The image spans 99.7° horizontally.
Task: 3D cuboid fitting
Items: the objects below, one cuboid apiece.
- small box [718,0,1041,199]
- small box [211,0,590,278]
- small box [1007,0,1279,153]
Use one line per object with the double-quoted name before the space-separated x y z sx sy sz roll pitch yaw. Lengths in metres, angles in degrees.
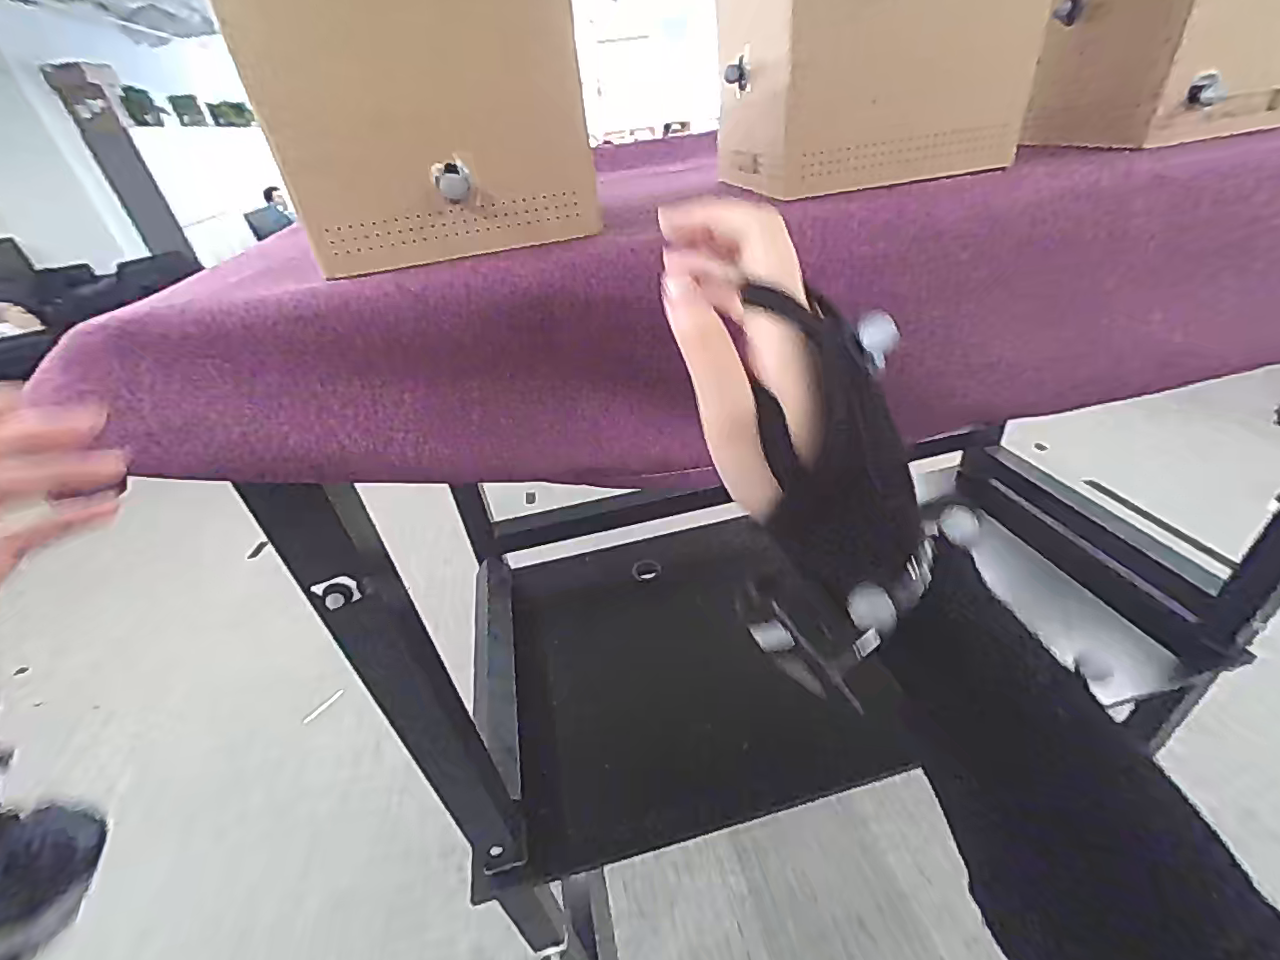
"small box" 0.165 -0.318 0.403 0.179 0.176 0.168 -10 34 -4
"small box" -0.136 -0.245 0.353 0.179 0.176 0.168 -15 35 -13
"small box" 0.418 -0.365 0.425 0.168 0.176 0.179 -12 33 -7
